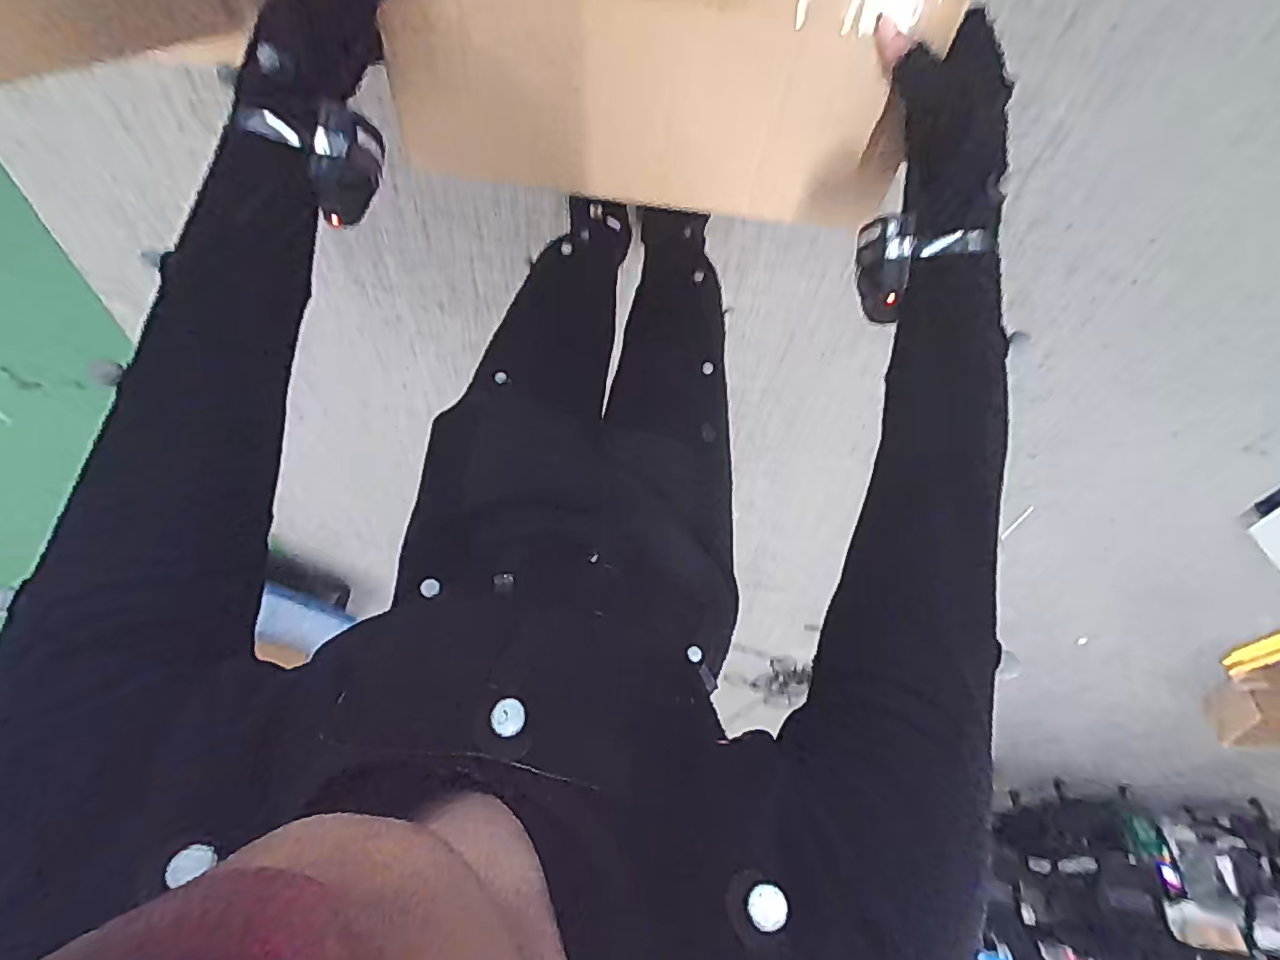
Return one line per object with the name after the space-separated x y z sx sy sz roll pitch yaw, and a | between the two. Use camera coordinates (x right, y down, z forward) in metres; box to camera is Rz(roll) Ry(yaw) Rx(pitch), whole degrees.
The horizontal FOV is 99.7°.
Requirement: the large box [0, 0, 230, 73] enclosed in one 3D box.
-0.671 -0.553 0.427 0.408 0.320 0.320 7 134 -1 | large box
